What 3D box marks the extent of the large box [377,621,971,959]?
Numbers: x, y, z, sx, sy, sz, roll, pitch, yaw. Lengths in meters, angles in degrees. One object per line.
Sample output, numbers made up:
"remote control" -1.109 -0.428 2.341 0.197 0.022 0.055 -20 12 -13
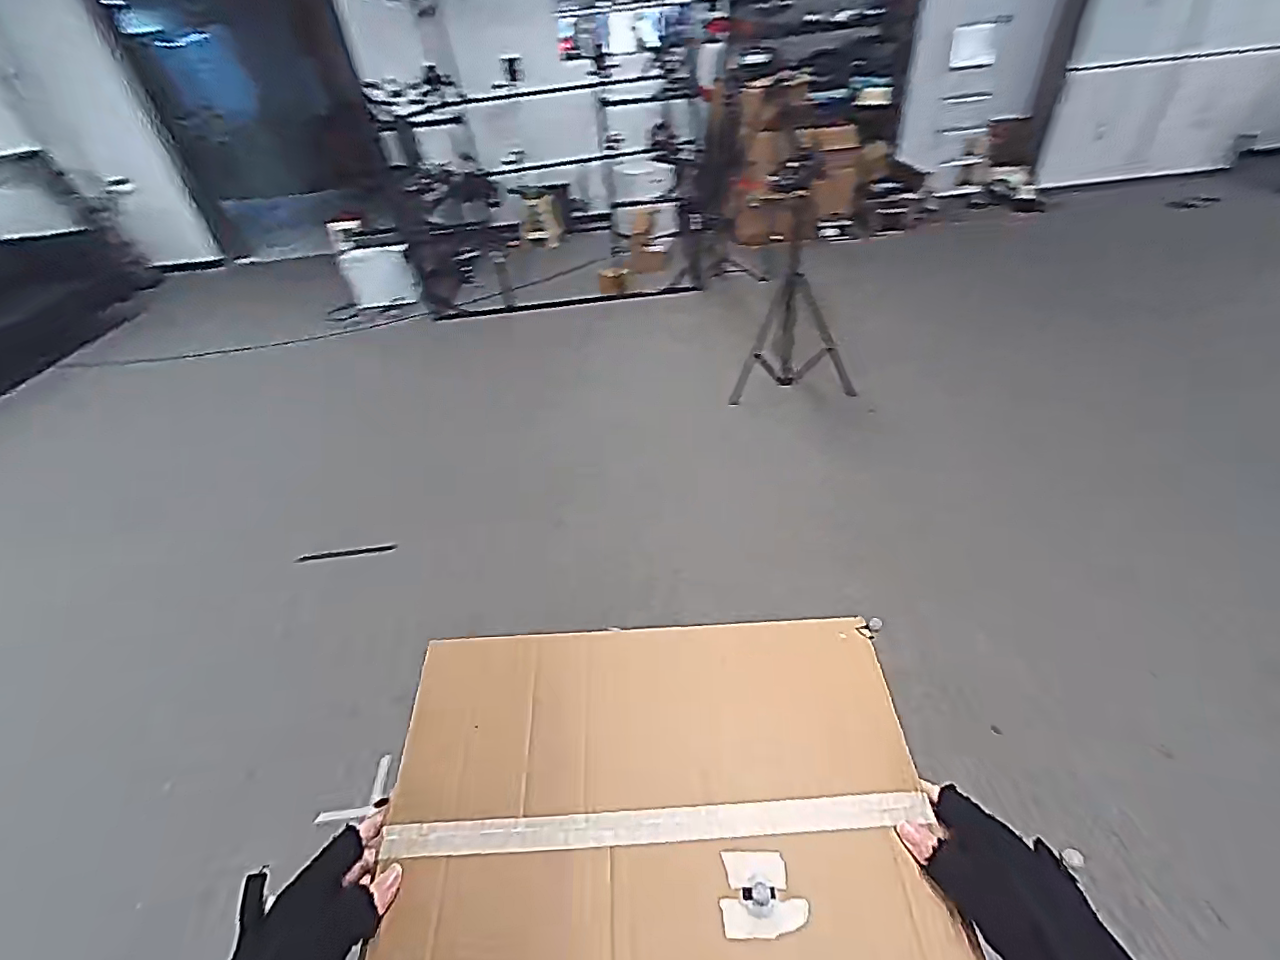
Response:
"large box" 0.016 0.364 0.521 0.408 0.320 0.320 -4 49 -2
